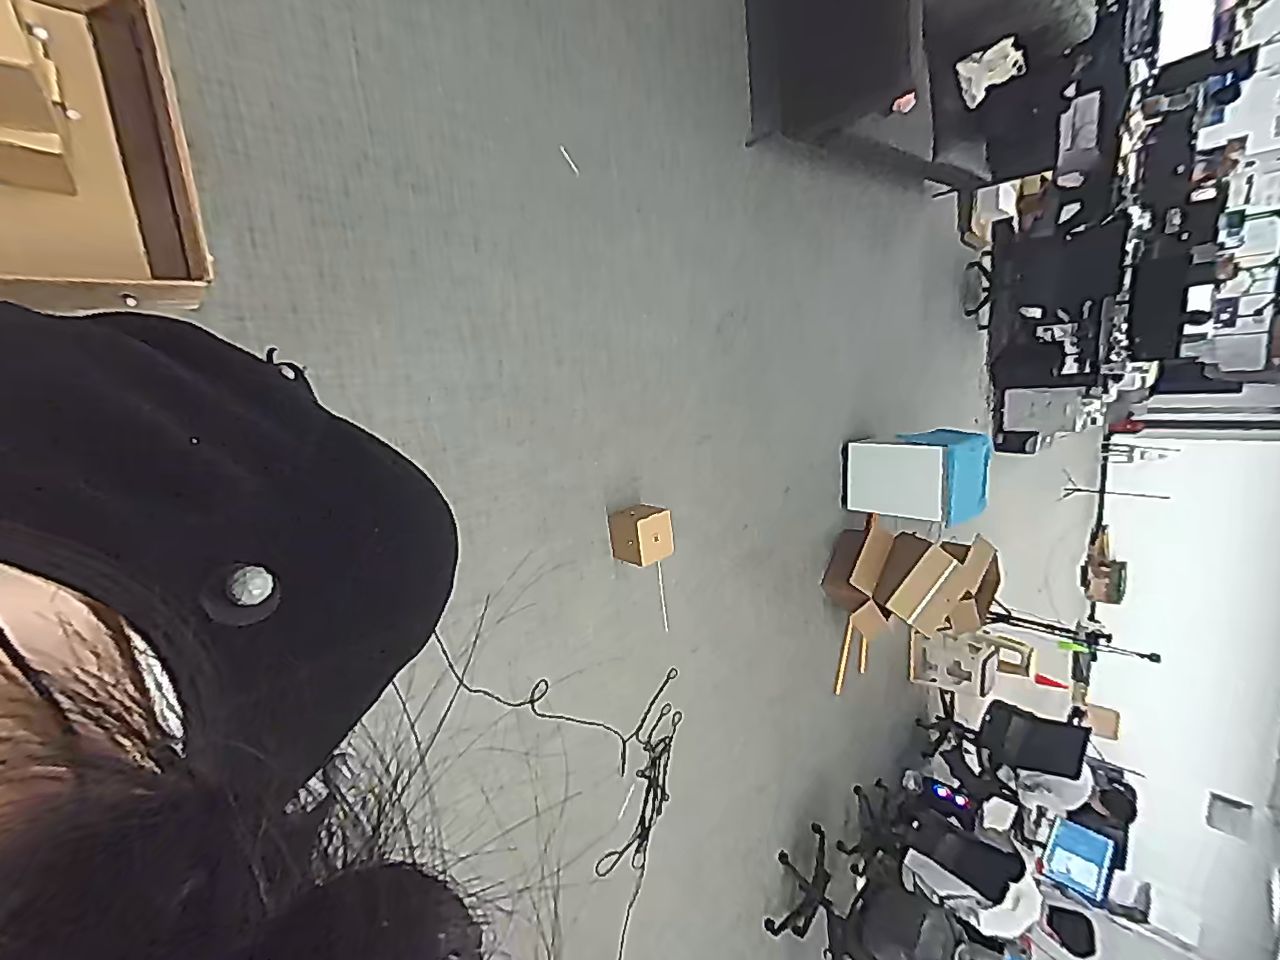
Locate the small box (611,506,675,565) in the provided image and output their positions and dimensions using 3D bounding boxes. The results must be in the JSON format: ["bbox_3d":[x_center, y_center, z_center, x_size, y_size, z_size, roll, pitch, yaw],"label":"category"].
[{"bbox_3d":[0.008,0.198,2.013,0.168,0.176,0.179,-17,106,-39],"label":"small box"}]
